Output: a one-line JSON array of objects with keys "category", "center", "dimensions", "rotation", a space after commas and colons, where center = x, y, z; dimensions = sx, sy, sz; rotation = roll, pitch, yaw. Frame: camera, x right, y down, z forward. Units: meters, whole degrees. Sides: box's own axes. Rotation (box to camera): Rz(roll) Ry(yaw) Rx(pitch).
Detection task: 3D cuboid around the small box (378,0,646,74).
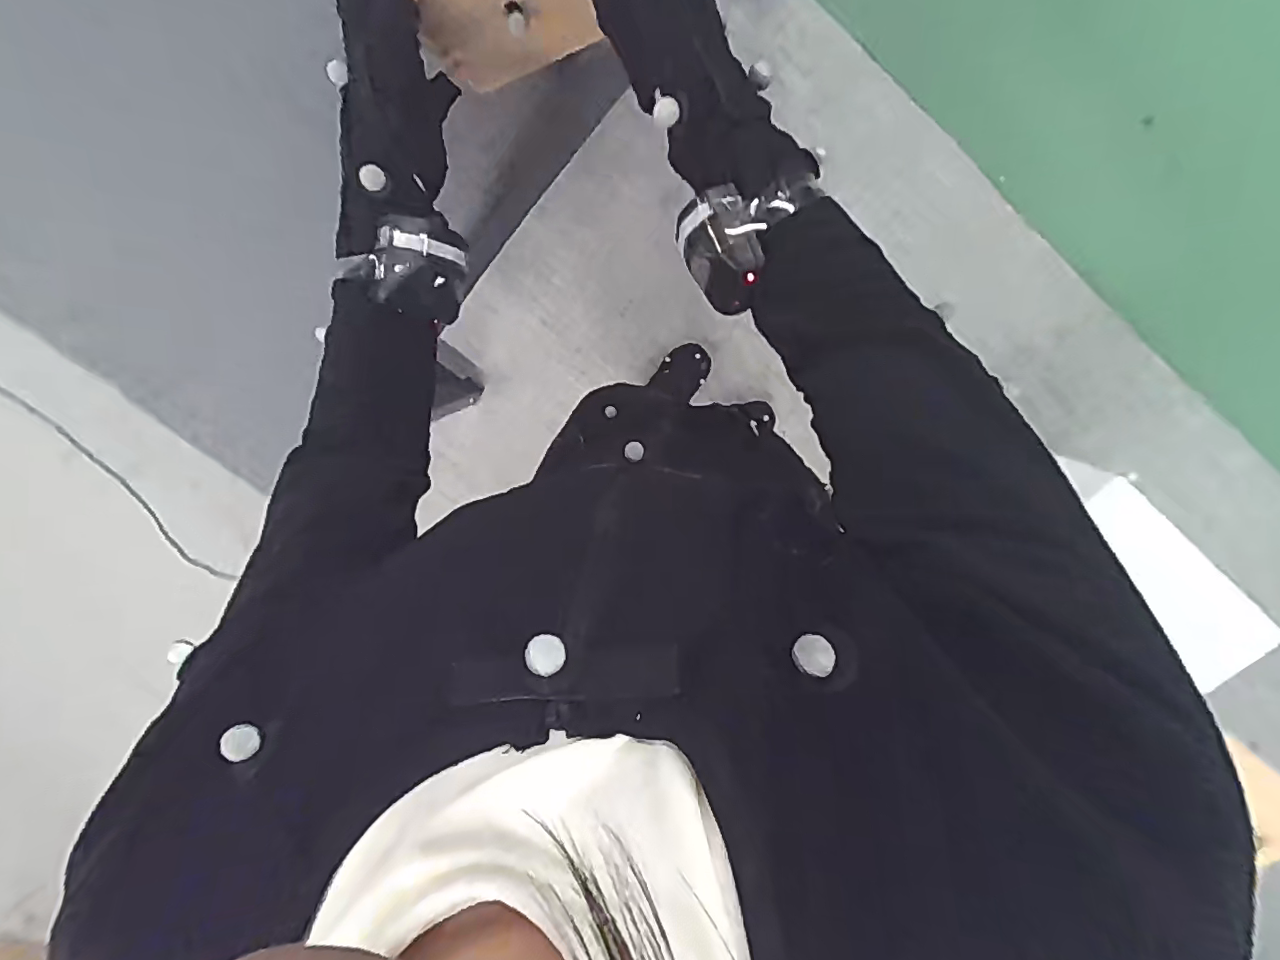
[{"category": "small box", "center": [-0.099, -0.424, 0.373], "dimensions": [0.179, 0.176, 0.168], "rotation": [-13, 109, 14]}]
